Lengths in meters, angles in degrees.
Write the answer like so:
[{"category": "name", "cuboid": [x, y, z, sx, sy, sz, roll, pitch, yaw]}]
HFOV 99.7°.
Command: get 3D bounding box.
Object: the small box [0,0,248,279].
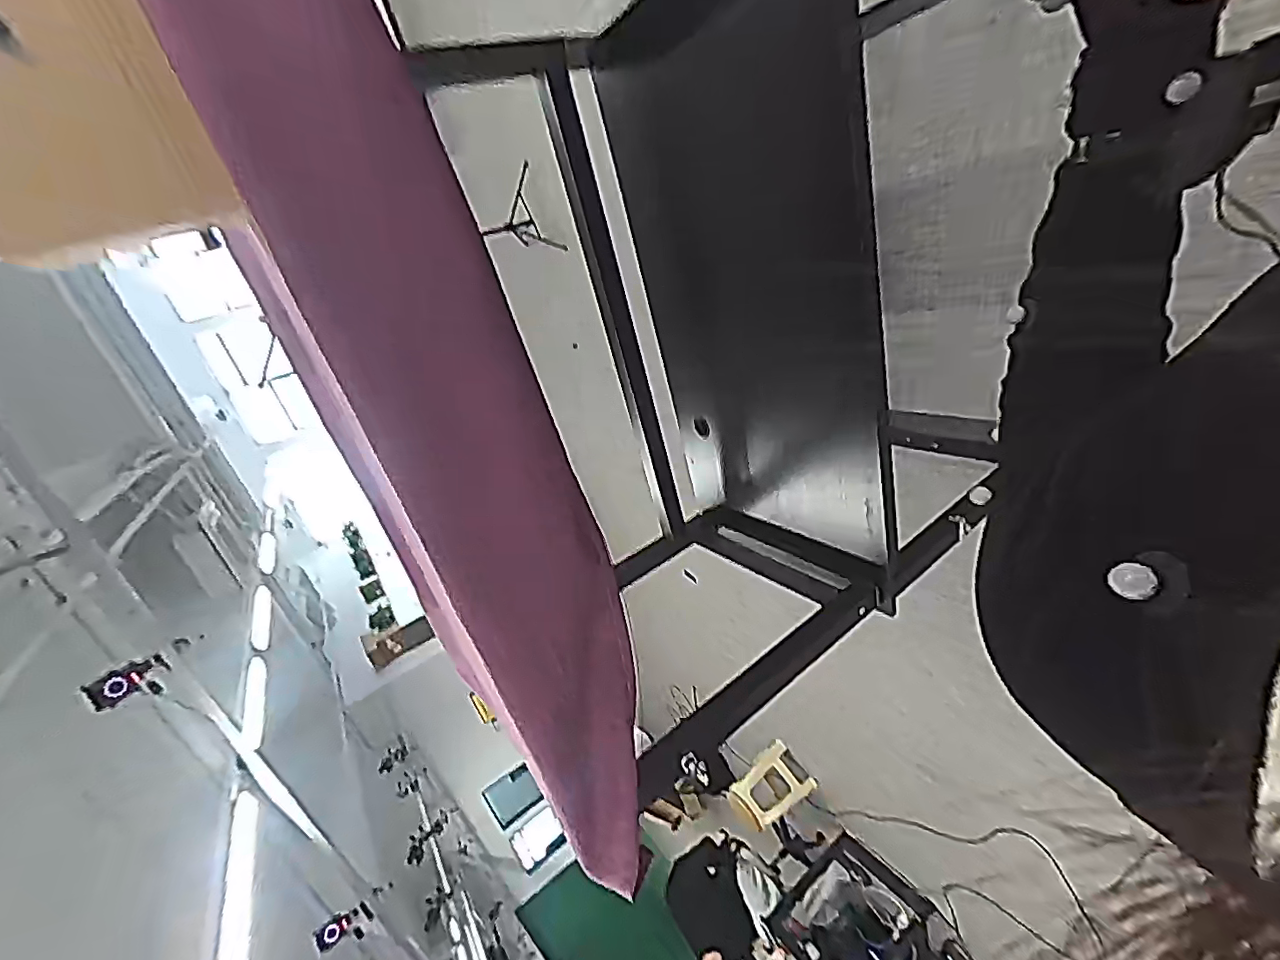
[{"category": "small box", "cuboid": [-0.457, -0.276, 0.438, 0.168, 0.176, 0.179, 29, 141, 51]}]
